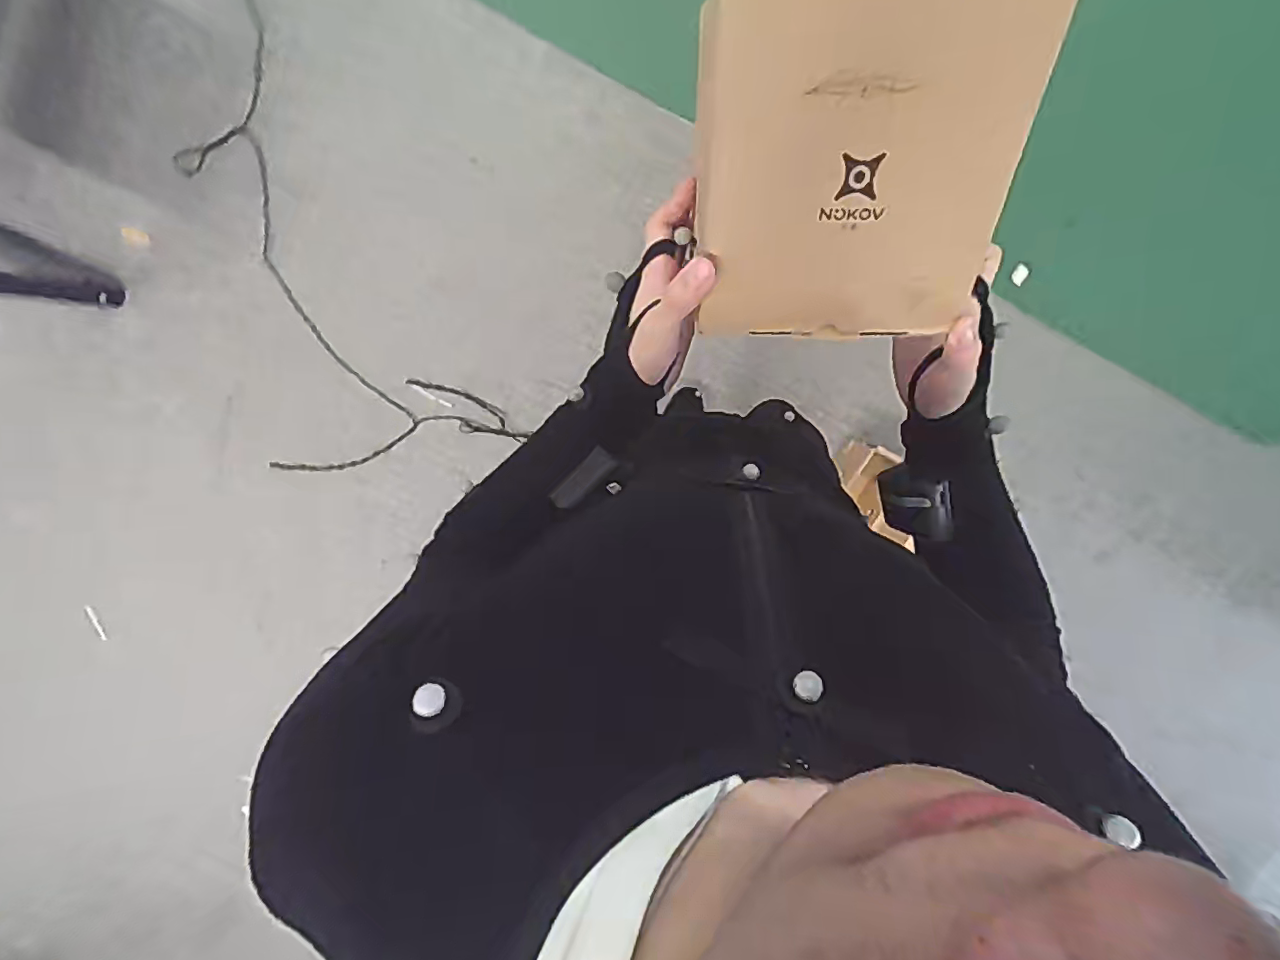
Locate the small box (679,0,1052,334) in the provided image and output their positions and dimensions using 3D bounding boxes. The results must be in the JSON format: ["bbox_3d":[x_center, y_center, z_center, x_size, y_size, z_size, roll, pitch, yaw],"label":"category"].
[{"bbox_3d":[0.113,-0.213,0.363,0.168,0.176,0.179,0,126,1],"label":"small box"}]

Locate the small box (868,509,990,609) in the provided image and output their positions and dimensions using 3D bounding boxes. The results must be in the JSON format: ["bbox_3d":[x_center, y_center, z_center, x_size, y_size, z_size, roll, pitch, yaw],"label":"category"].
[{"bbox_3d":[0.701,0.185,1.337,0.179,0.176,0.168,26,102,-3],"label":"small box"}]
